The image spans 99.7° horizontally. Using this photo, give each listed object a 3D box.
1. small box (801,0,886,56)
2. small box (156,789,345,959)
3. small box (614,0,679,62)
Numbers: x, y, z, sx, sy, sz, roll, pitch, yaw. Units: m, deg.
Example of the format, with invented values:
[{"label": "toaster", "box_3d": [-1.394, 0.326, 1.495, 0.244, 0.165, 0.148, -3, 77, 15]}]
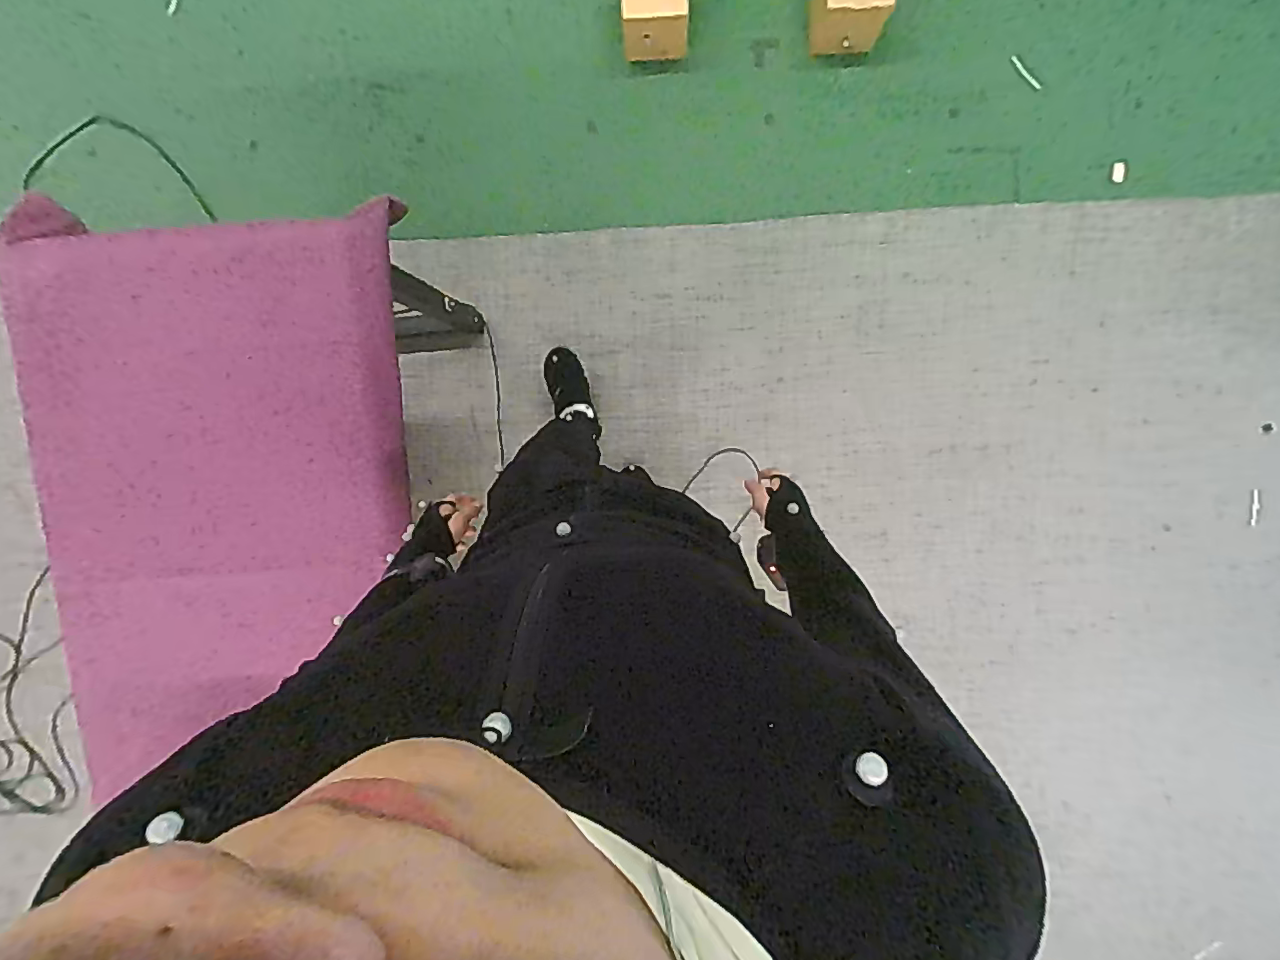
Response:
[{"label": "small box", "box_3d": [0.521, -1.247, 1.399, 0.168, 0.176, 0.179, -1, 96, 2]}, {"label": "small box", "box_3d": [-0.621, 0.638, 0.881, 0.179, 0.176, 0.168, -6, 95, 1]}, {"label": "small box", "box_3d": [0.019, -1.235, 1.416, 0.168, 0.176, 0.179, -2, 95, 2]}]
